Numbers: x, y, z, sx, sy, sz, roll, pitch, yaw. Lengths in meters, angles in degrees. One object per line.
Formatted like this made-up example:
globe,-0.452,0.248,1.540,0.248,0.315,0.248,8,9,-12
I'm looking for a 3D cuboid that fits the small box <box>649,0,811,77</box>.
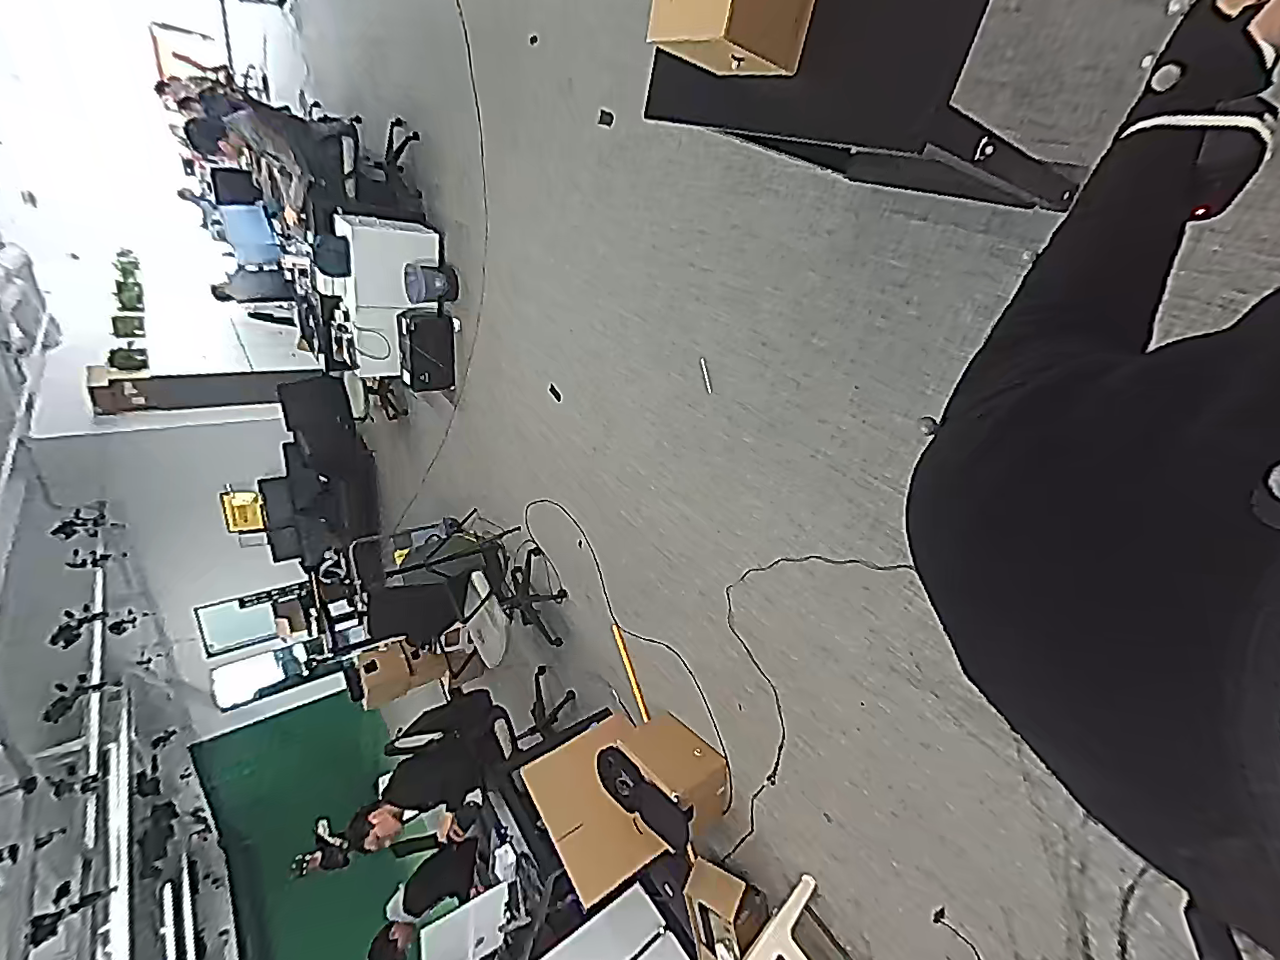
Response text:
small box,0.143,-0.726,0.806,0.179,0.176,0.168,39,126,40
